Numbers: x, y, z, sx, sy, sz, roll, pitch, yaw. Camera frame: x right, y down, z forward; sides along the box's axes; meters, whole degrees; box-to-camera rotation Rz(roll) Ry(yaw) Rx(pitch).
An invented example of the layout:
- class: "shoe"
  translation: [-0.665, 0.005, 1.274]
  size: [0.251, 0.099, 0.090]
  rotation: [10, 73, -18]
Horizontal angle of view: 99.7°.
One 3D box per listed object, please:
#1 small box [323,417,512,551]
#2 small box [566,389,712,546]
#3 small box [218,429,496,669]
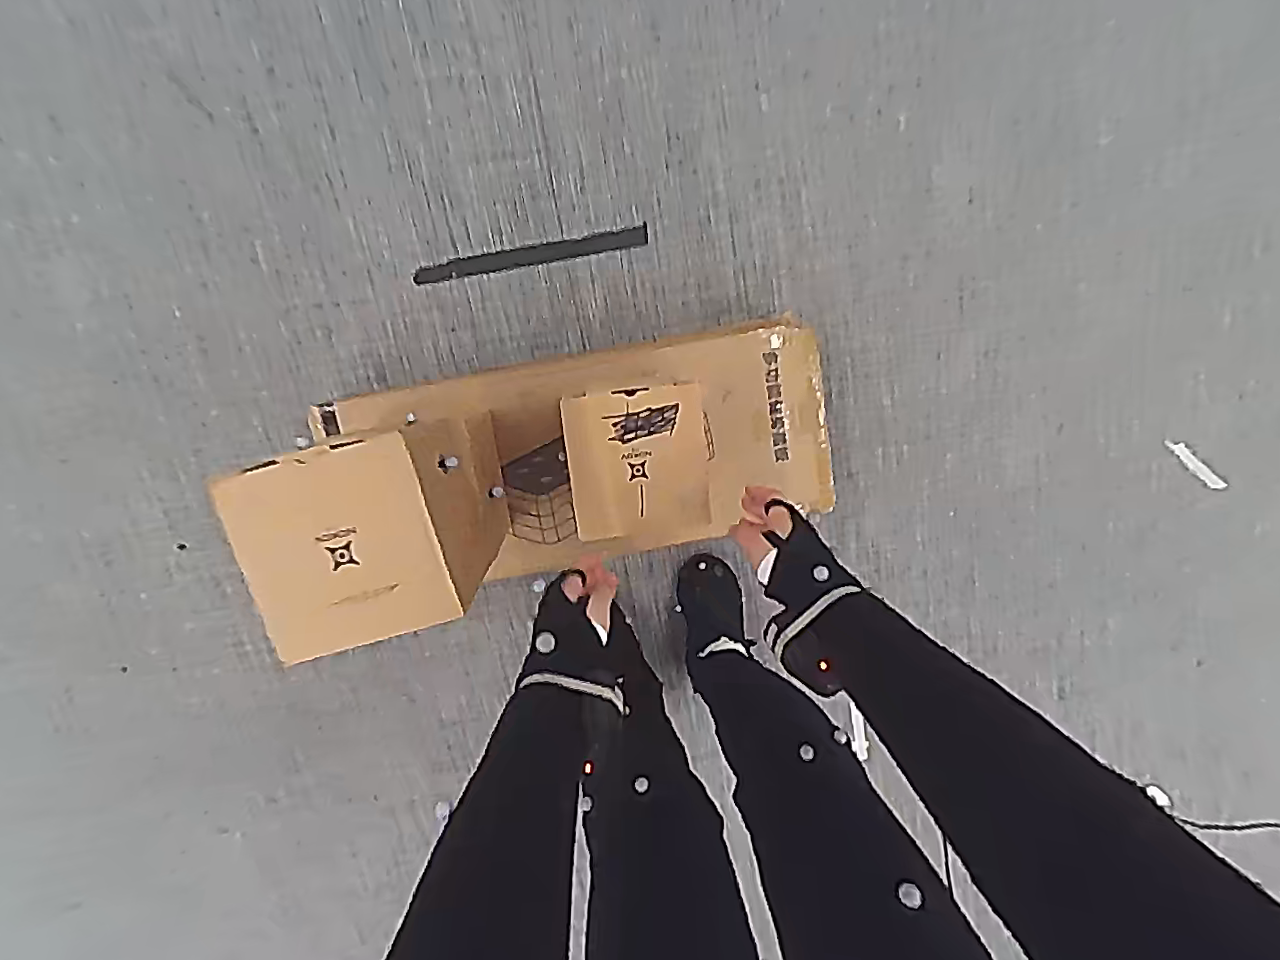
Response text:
- class: "small box"
  translation: [-0.271, 0.020, 0.703]
  size: [0.168, 0.176, 0.179]
  rotation: [-9, 102, -4]
- class: "small box"
  translation: [-0.007, -0.027, 0.722]
  size: [0.168, 0.176, 0.179]
  rotation: [-7, 102, -3]
- class: "small box"
  translation: [-0.258, 0.051, 0.544]
  size: [0.168, 0.176, 0.179]
  rotation: [-16, 102, -2]
